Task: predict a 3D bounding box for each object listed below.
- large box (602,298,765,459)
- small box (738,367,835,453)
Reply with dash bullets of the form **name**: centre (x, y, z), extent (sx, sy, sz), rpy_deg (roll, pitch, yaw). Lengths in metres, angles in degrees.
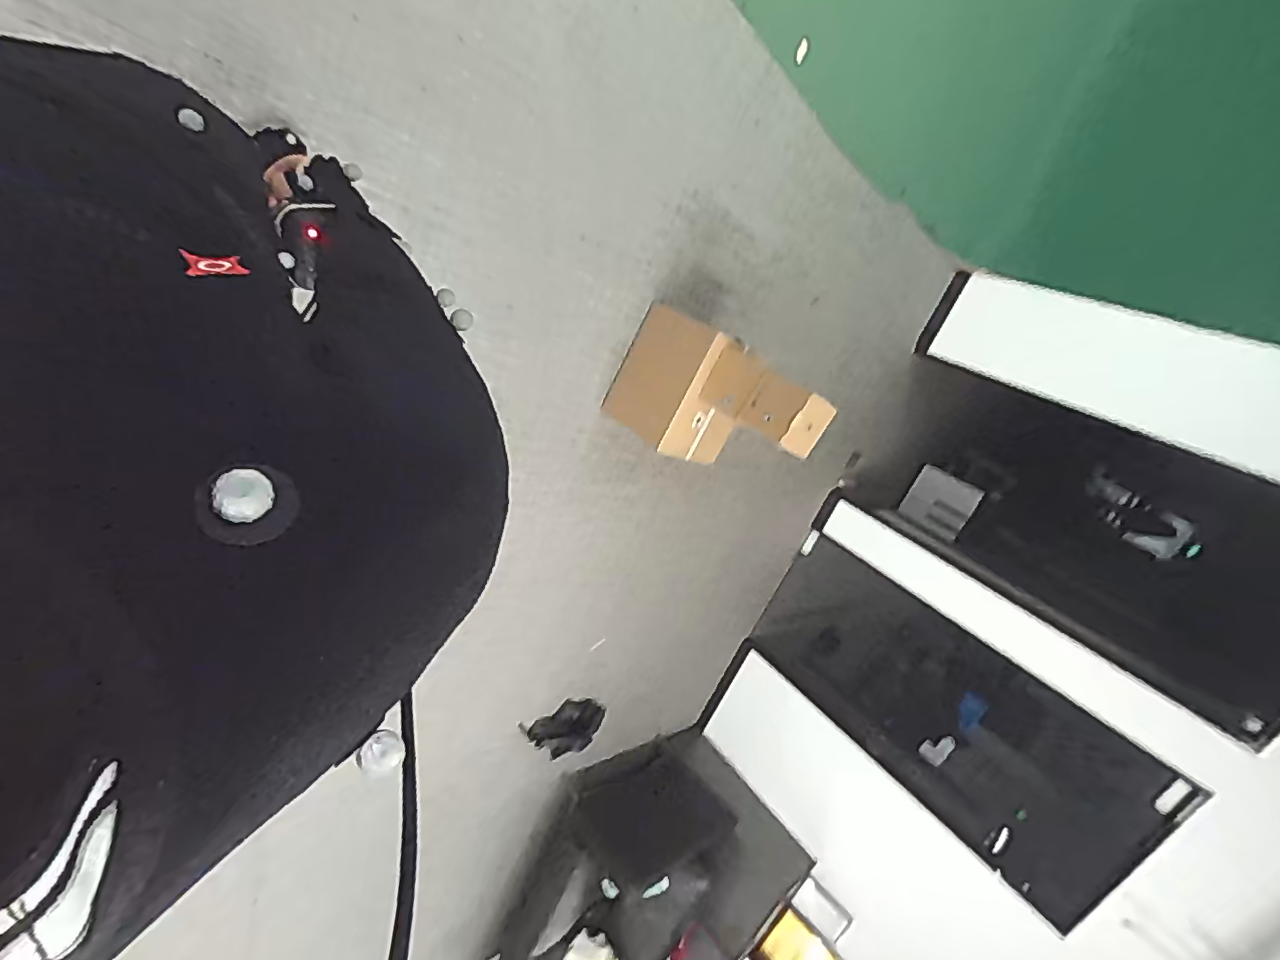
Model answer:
- **large box**: centre (0.138, -0.333, 1.814), extent (0.320, 0.320, 0.408), rpy_deg (10, 114, -47)
- **small box**: centre (0.409, -0.201, 1.528), extent (0.179, 0.176, 0.168), rpy_deg (14, 112, -50)
